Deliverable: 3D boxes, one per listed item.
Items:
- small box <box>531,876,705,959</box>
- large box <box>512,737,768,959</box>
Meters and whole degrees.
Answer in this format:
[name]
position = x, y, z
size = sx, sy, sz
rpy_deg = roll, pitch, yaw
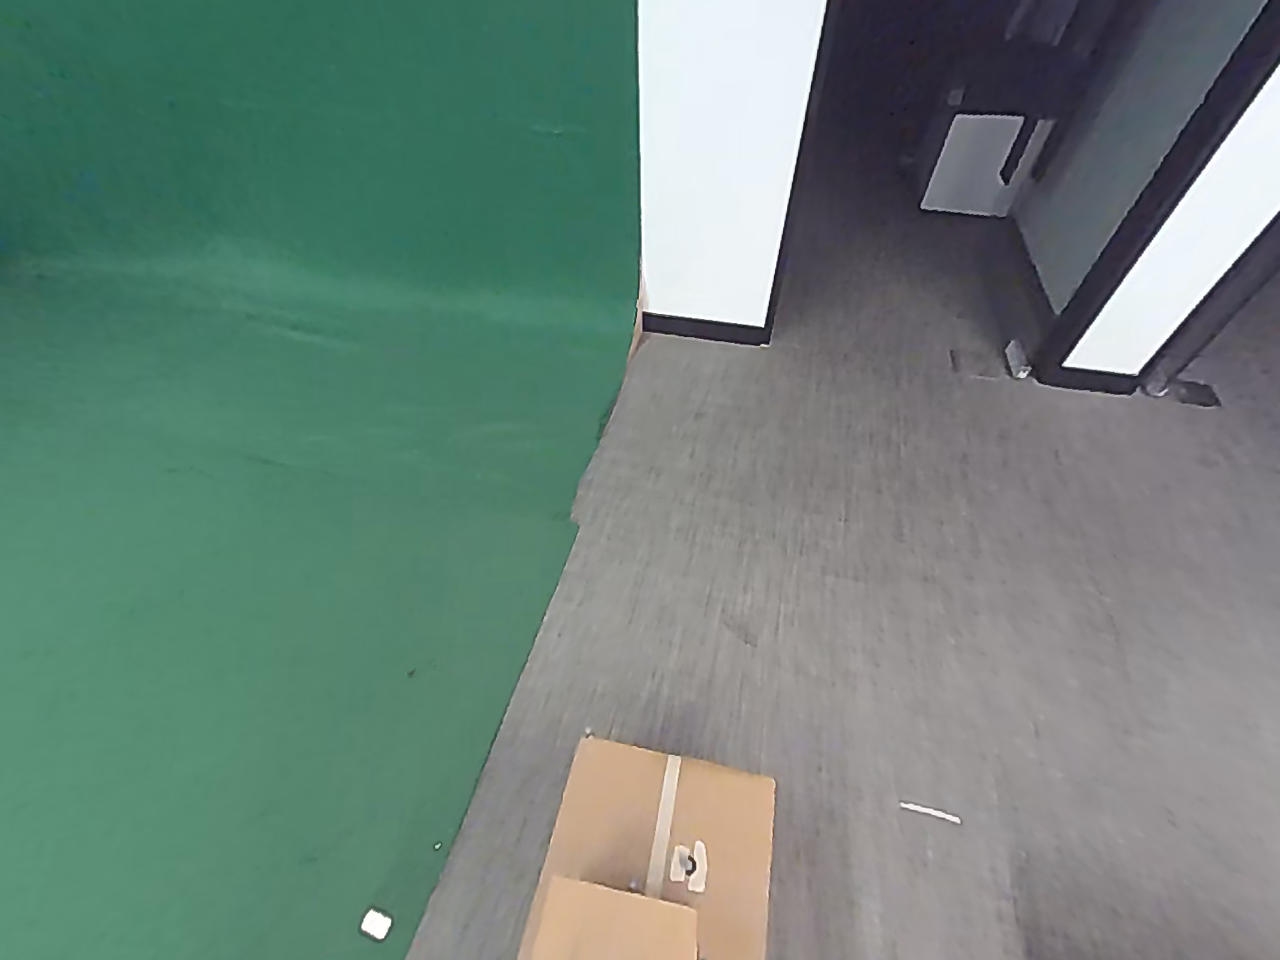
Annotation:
[small box]
position = -0.028, 0.570, 0.605
size = 0.179, 0.176, 0.168
rpy_deg = 7, 49, 10
[large box]
position = 0.008, 0.681, 0.832
size = 0.320, 0.320, 0.408
rpy_deg = 10, 49, 9
